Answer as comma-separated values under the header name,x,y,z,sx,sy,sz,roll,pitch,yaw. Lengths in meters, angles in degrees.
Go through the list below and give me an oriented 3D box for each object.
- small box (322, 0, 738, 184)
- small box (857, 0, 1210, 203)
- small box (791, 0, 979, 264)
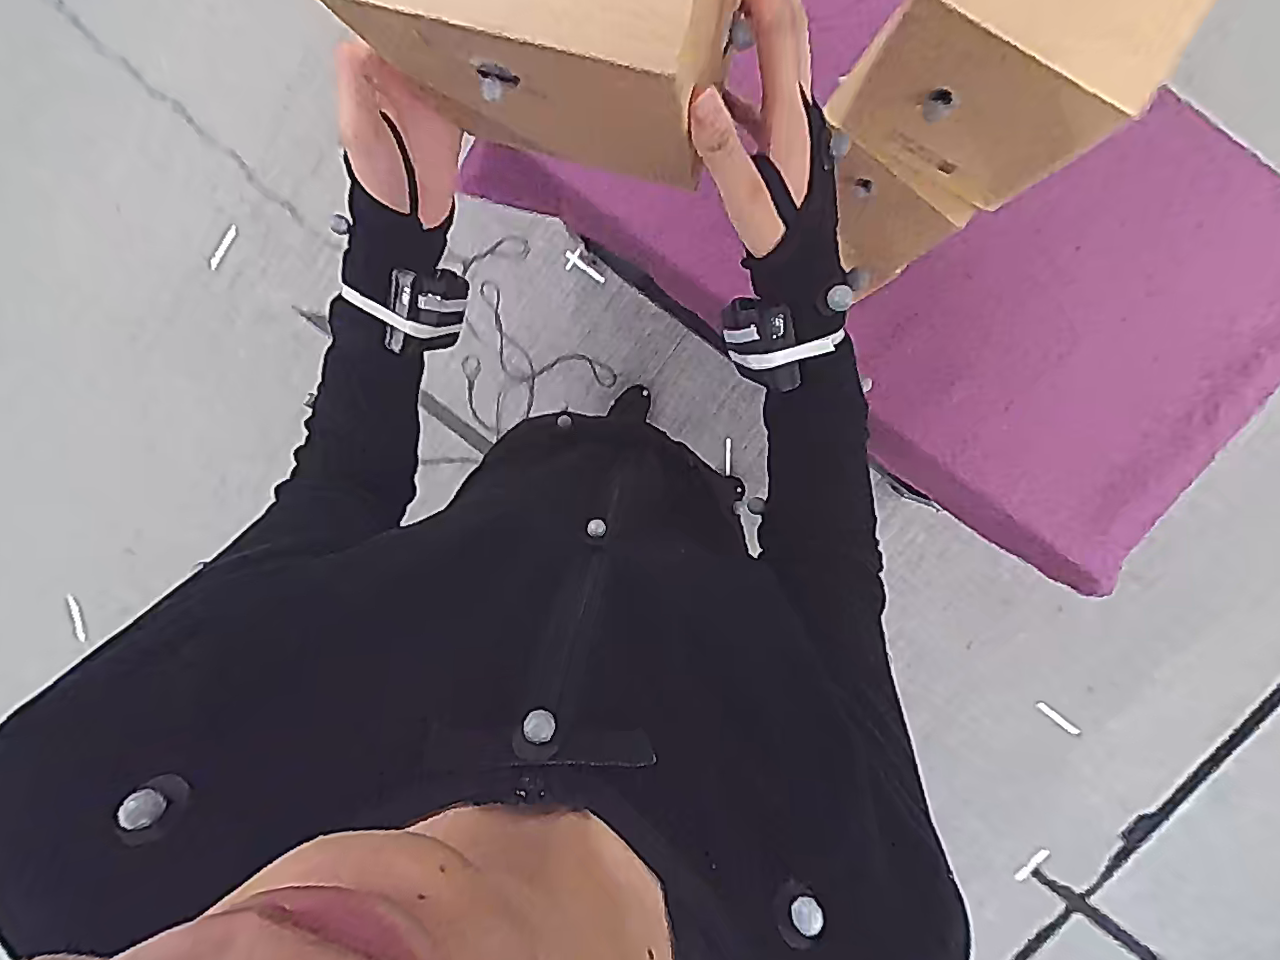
name,x,y,z,sx,sy,sz,roll,pitch,yaw
small box,-0.040,-0.290,0.300,0.179,0.176,0.168,16,105,3
small box,0.294,-0.355,0.415,0.168,0.176,0.179,31,96,0
small box,0.289,-0.363,0.579,0.179,0.176,0.168,39,98,-2
